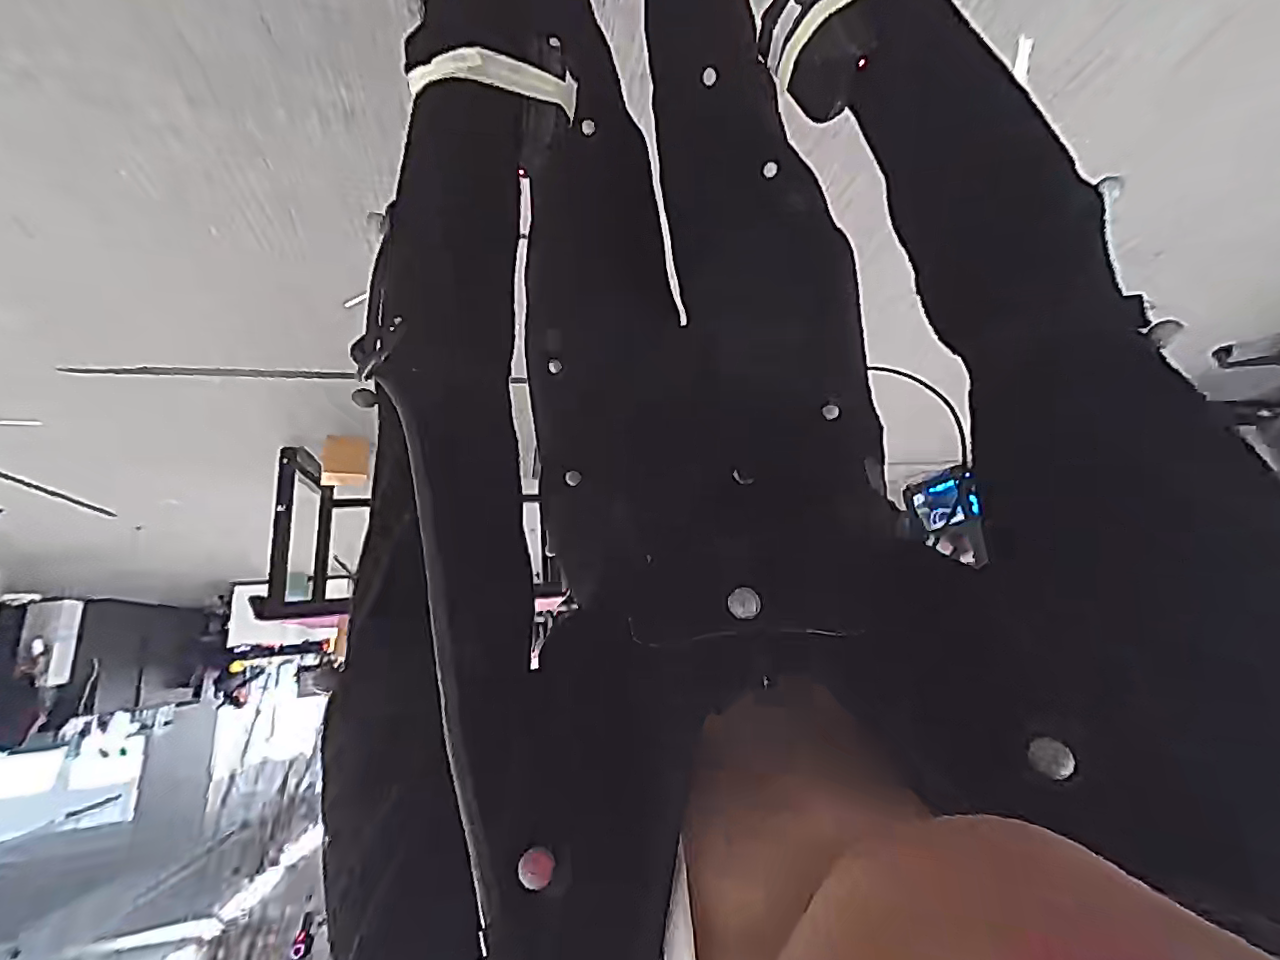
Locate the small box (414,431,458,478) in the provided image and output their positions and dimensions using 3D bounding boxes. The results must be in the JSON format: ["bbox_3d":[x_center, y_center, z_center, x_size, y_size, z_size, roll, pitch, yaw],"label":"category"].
[{"bbox_3d":[-0.919,-0.116,2.442,0.179,0.176,0.168,0,162,-19],"label":"small box"}]

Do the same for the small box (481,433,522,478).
[{"bbox_3d":[-0.652,-0.116,2.537,0.179,0.176,0.168,-1,162,-16],"label":"small box"}]

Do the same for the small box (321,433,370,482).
[{"bbox_3d":[-1.293,-0.099,2.372,0.179,0.176,0.168,3,161,-31],"label":"small box"}]

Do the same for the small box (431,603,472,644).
[{"bbox_3d":[-0.885,0.671,2.533,0.168,0.176,0.179,2,161,-26],"label":"small box"}]

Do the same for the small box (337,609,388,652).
[{"bbox_3d":[-1.235,0.672,2.411,0.179,0.176,0.168,-2,164,-16],"label":"small box"}]
